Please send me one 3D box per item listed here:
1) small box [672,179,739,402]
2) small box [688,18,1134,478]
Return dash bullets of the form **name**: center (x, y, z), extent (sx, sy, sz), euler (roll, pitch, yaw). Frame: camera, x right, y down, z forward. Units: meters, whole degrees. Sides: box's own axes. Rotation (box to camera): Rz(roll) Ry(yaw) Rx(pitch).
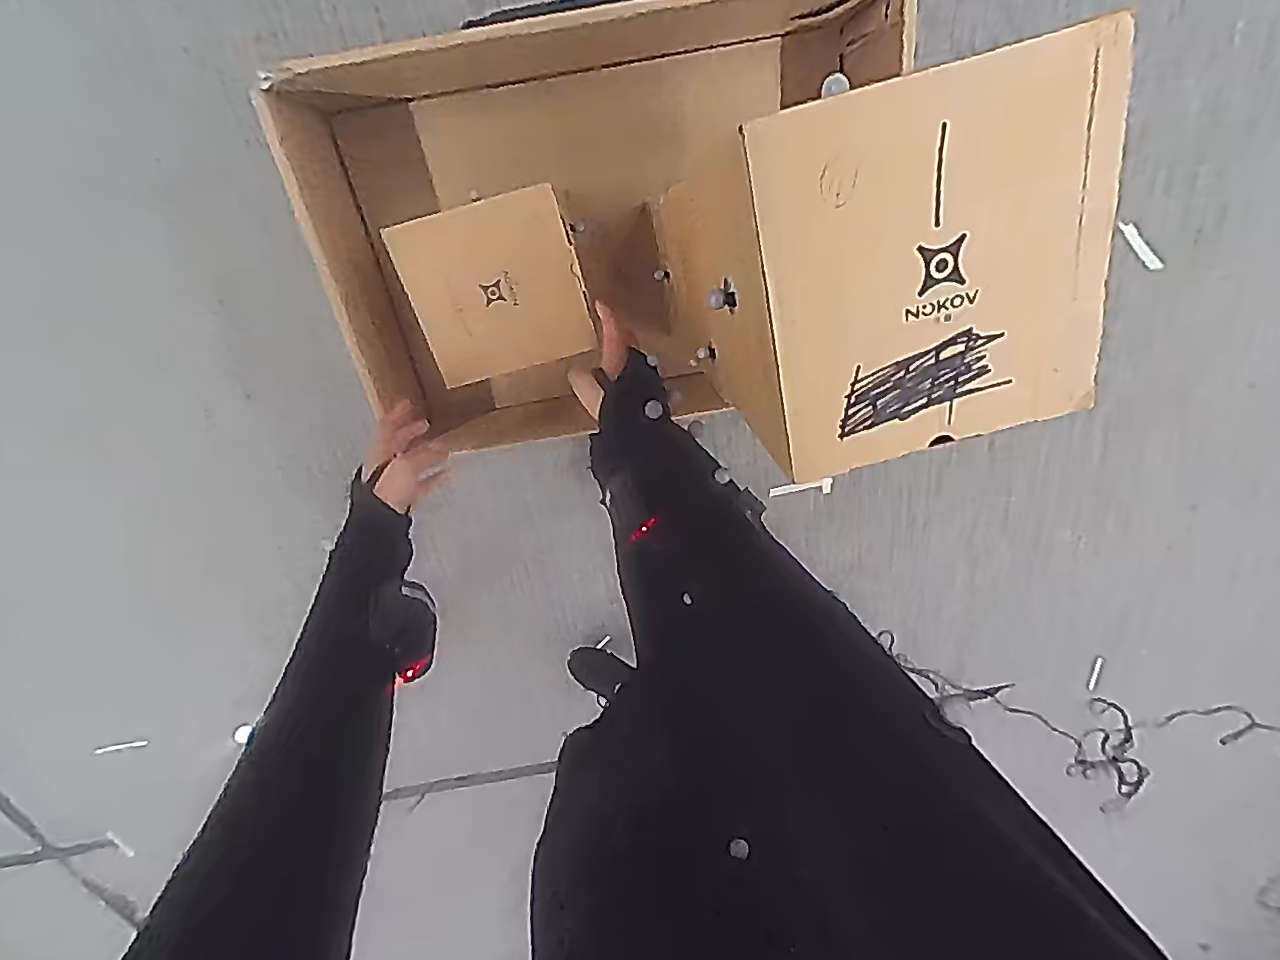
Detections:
- **small box**: center (0.130, -0.190, 0.483), extent (0.168, 0.176, 0.179), euler (-12, 117, 1)
- **small box**: center (0.134, -0.129, 0.330), extent (0.168, 0.176, 0.179), euler (-15, 116, 2)
